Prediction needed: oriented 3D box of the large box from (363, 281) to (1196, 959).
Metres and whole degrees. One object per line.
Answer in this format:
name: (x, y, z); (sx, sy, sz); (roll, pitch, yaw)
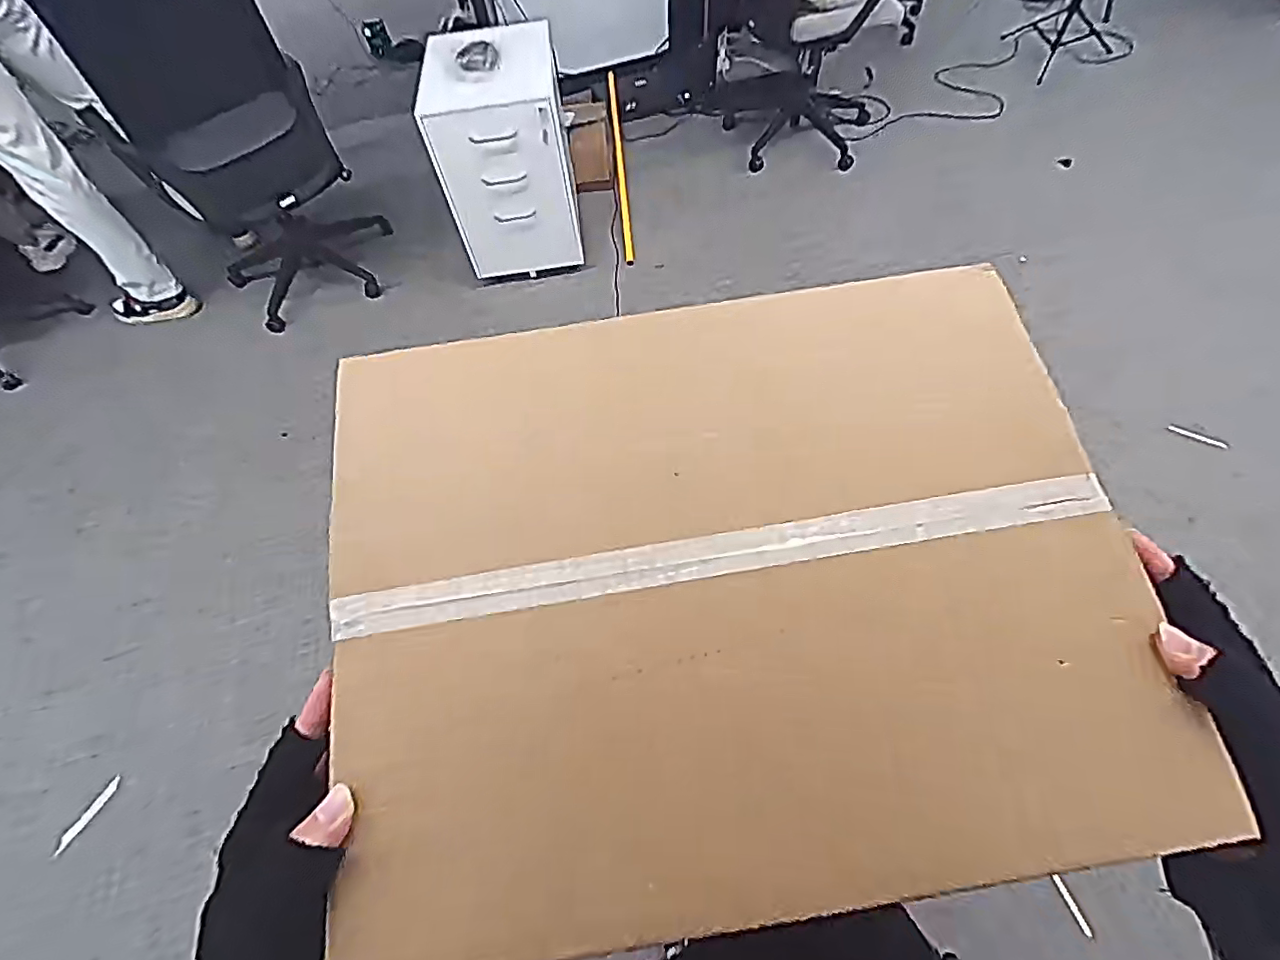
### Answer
large box: (0.048, 0.094, 0.439); (0.408, 0.320, 0.320); (-10, 71, -2)
